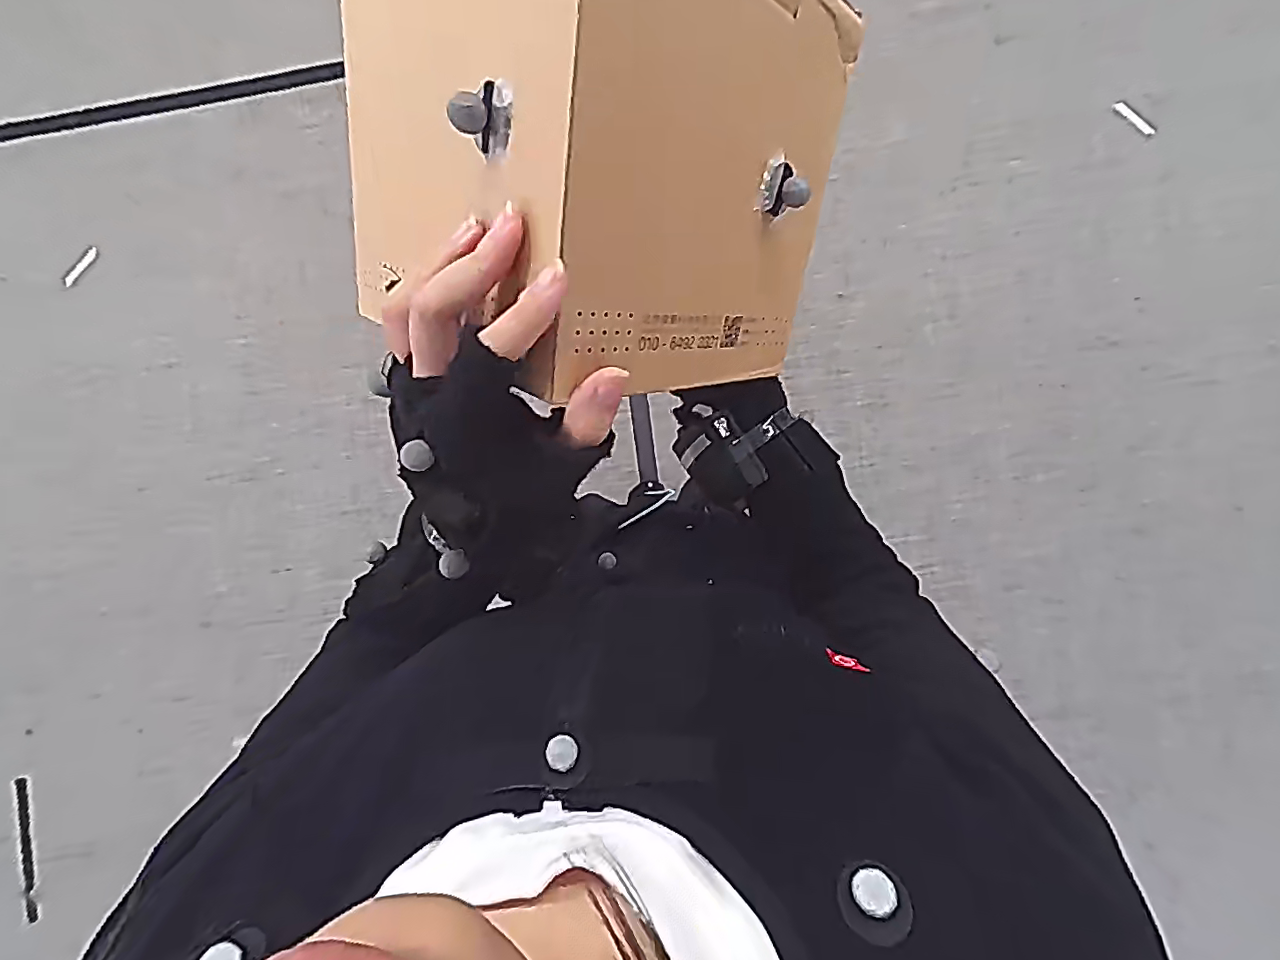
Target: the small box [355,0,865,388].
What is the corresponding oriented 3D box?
[{"bbox_3d":[-0.023,-0.147,0.277,0.179,0.168,0.176,27,119,37],"label":"small box"}]
